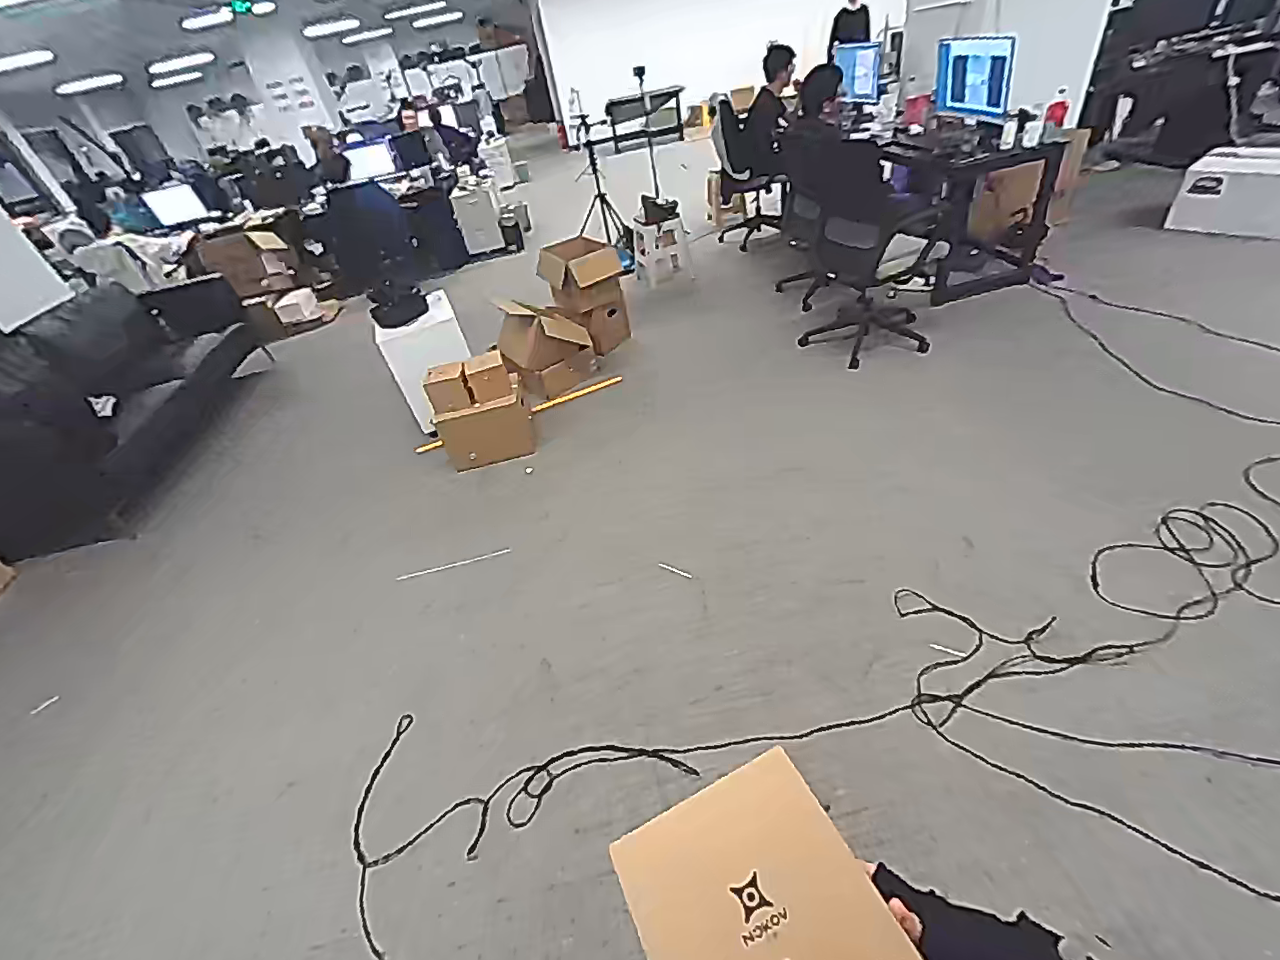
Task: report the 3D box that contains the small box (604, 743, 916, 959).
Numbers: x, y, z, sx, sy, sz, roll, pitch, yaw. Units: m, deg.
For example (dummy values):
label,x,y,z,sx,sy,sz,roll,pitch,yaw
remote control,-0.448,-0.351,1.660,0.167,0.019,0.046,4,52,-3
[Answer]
label,x,y,z,sx,sy,sz,roll,pitch,yaw
small box,0.089,0.360,0.434,0.168,0.176,0.179,-24,43,-12
